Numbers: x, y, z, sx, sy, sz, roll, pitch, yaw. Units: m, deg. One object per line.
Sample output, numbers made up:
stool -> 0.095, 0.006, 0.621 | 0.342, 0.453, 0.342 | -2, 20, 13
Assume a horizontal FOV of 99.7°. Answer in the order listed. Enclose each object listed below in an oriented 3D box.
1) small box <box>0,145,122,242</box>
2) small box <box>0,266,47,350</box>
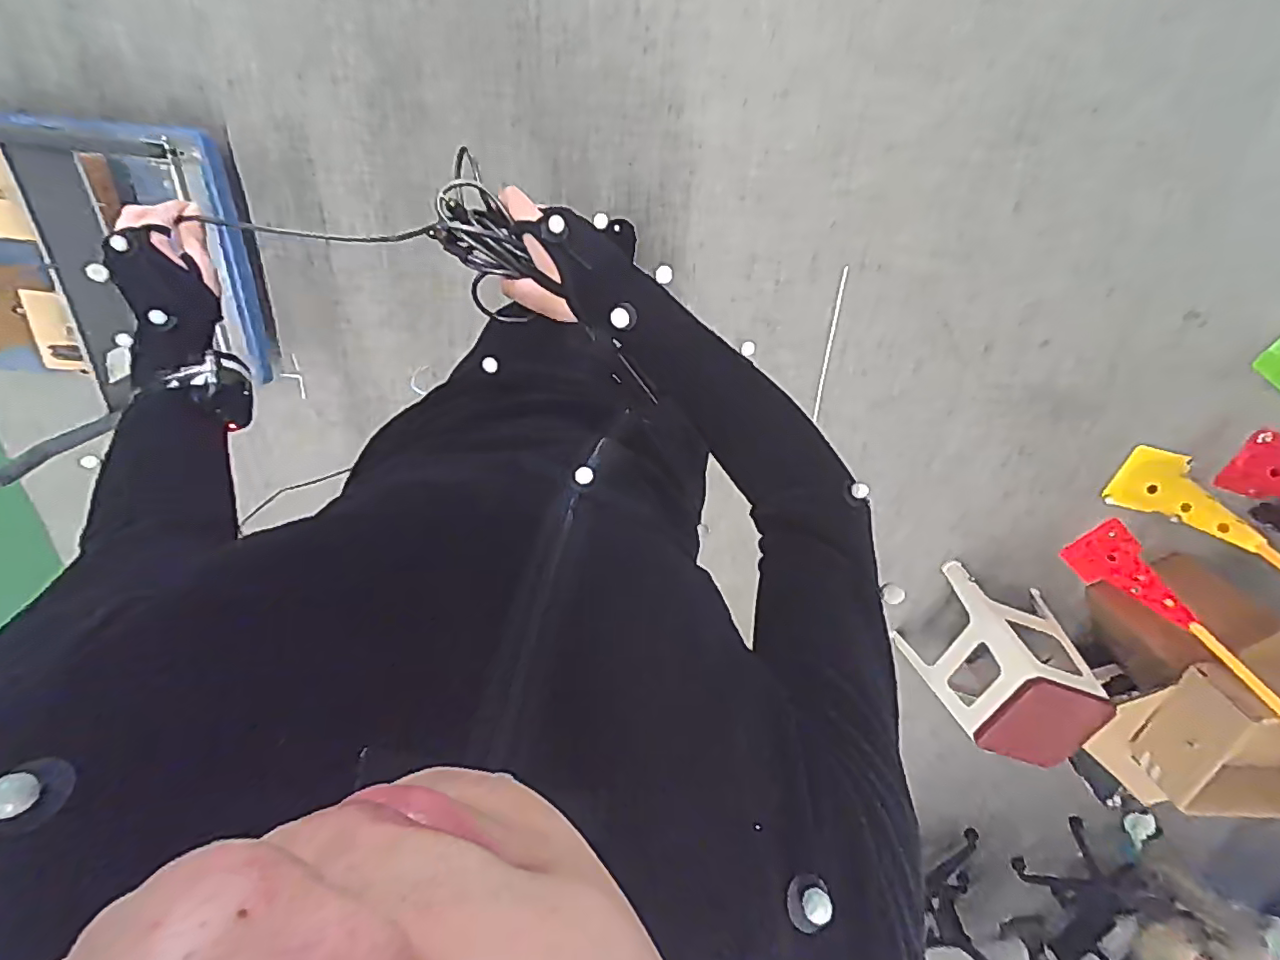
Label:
small box -> -1.253, -0.595, 1.121 | 0.179, 0.176, 0.168 | 5, 118, -3
small box -> -1.523, -0.392, 1.225 | 0.179, 0.176, 0.168 | 0, 117, -1
